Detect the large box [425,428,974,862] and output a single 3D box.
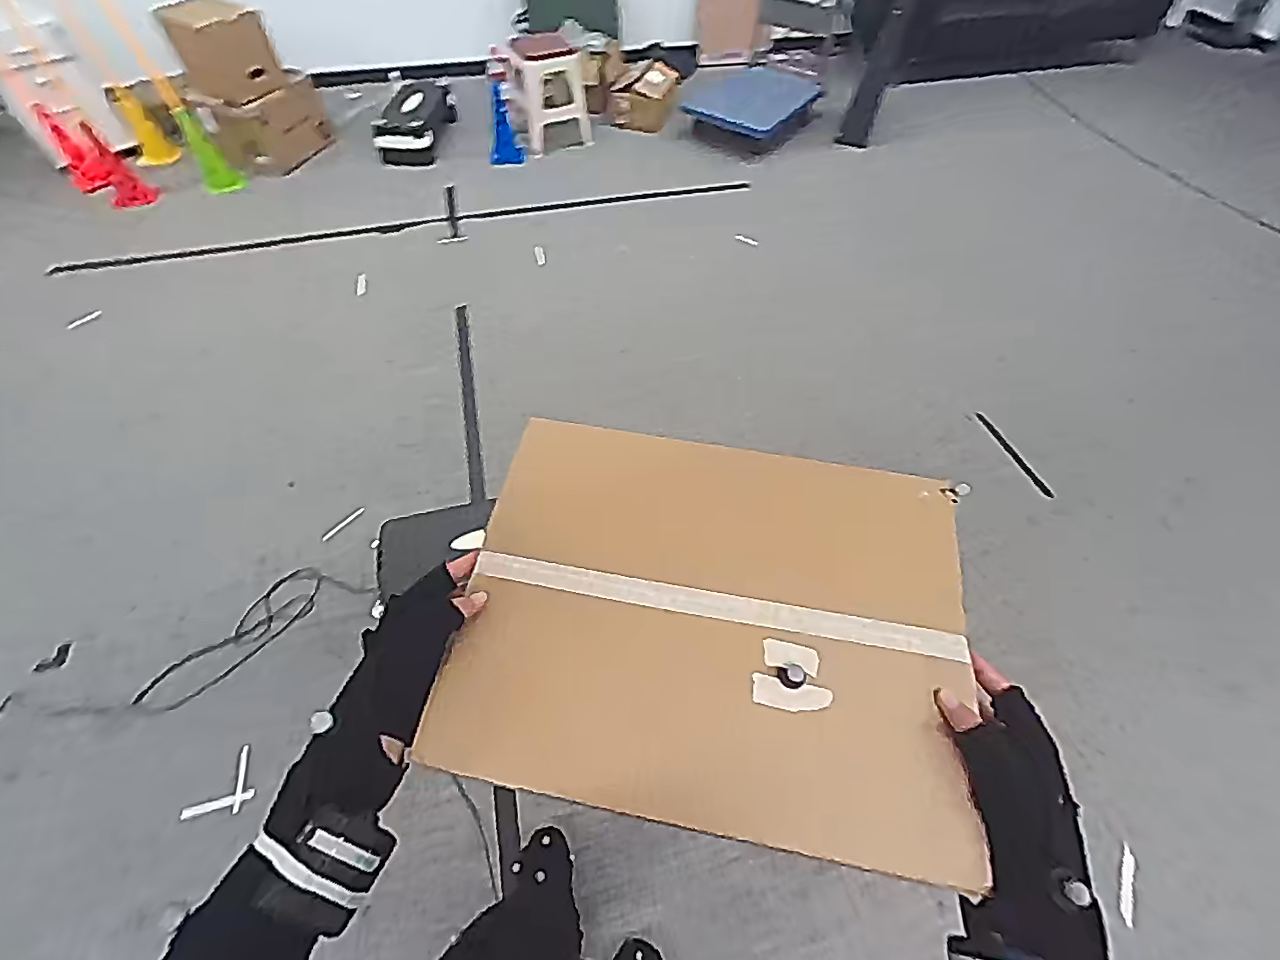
[{"bbox_3d":[0.056,0.177,0.585,0.408,0.320,0.320,9,62,5],"label":"large box"}]
